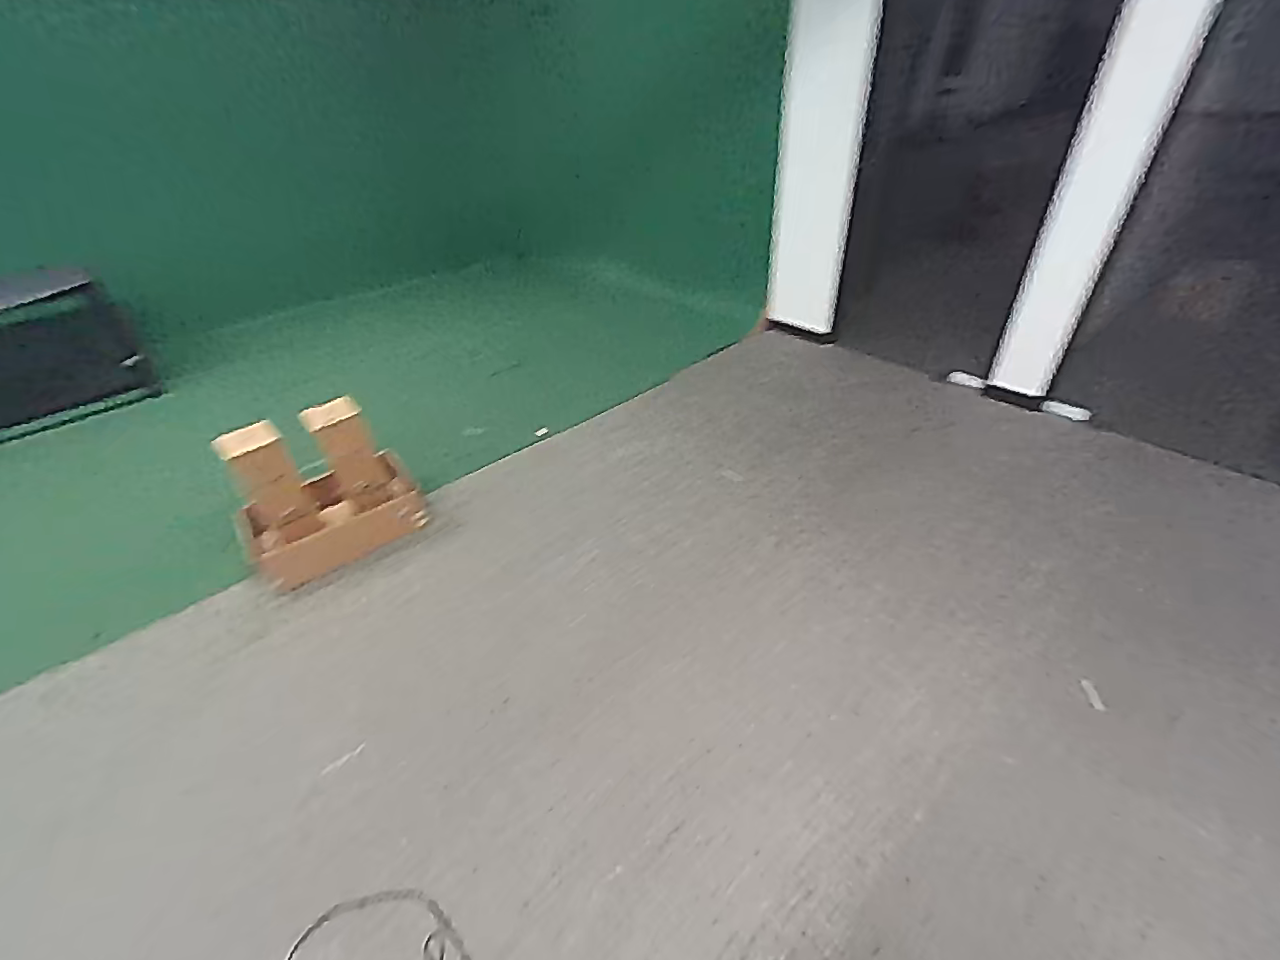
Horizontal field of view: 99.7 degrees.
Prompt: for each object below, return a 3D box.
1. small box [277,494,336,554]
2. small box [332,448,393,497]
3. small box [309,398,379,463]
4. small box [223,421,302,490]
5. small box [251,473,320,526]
[{"bbox_3d":[-1.363,0.167,2.181,0.168,0.176,0.179,-30,46,-31],"label":"small box"},{"bbox_3d":[-1.131,-0.061,2.189,0.168,0.176,0.179,-27,46,-25],"label":"small box"},{"bbox_3d":[-1.140,-0.190,2.086,0.168,0.176,0.179,-29,44,-27],"label":"small box"},{"bbox_3d":[-1.369,-0.084,1.968,0.168,0.176,0.179,-31,47,-33],"label":"small box"},{"bbox_3d":[-1.367,0.046,2.070,0.168,0.176,0.179,-32,48,-33],"label":"small box"}]
